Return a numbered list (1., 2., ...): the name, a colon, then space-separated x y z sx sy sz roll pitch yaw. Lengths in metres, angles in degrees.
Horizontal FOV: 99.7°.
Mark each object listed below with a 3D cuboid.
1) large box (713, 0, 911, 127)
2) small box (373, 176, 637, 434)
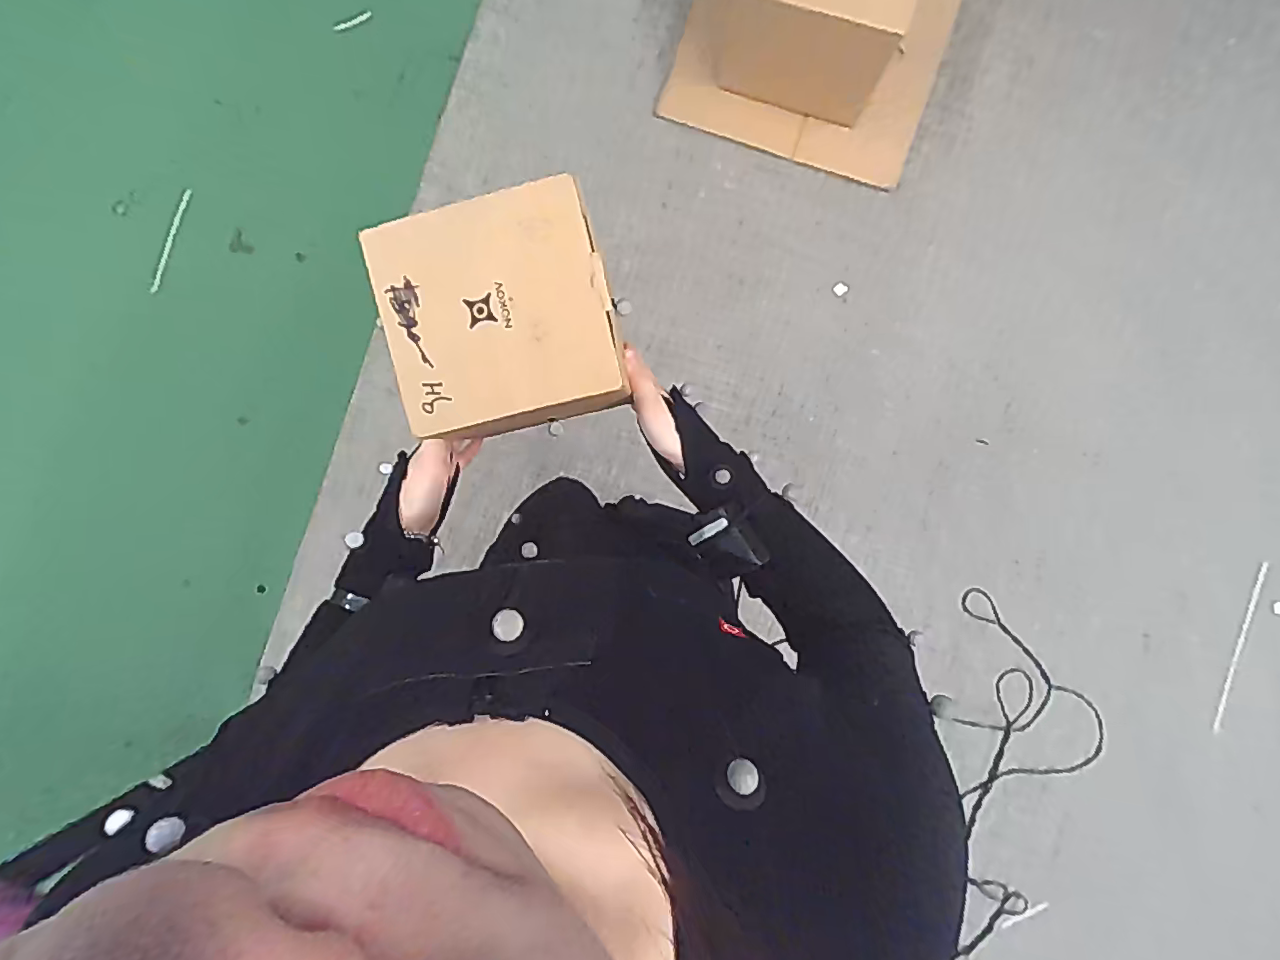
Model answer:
1. large box: 0.428 -1.172 1.350 0.408 0.320 0.320 17 90 1
2. small box: -0.103 -0.139 0.493 0.179 0.176 0.168 -12 93 2
